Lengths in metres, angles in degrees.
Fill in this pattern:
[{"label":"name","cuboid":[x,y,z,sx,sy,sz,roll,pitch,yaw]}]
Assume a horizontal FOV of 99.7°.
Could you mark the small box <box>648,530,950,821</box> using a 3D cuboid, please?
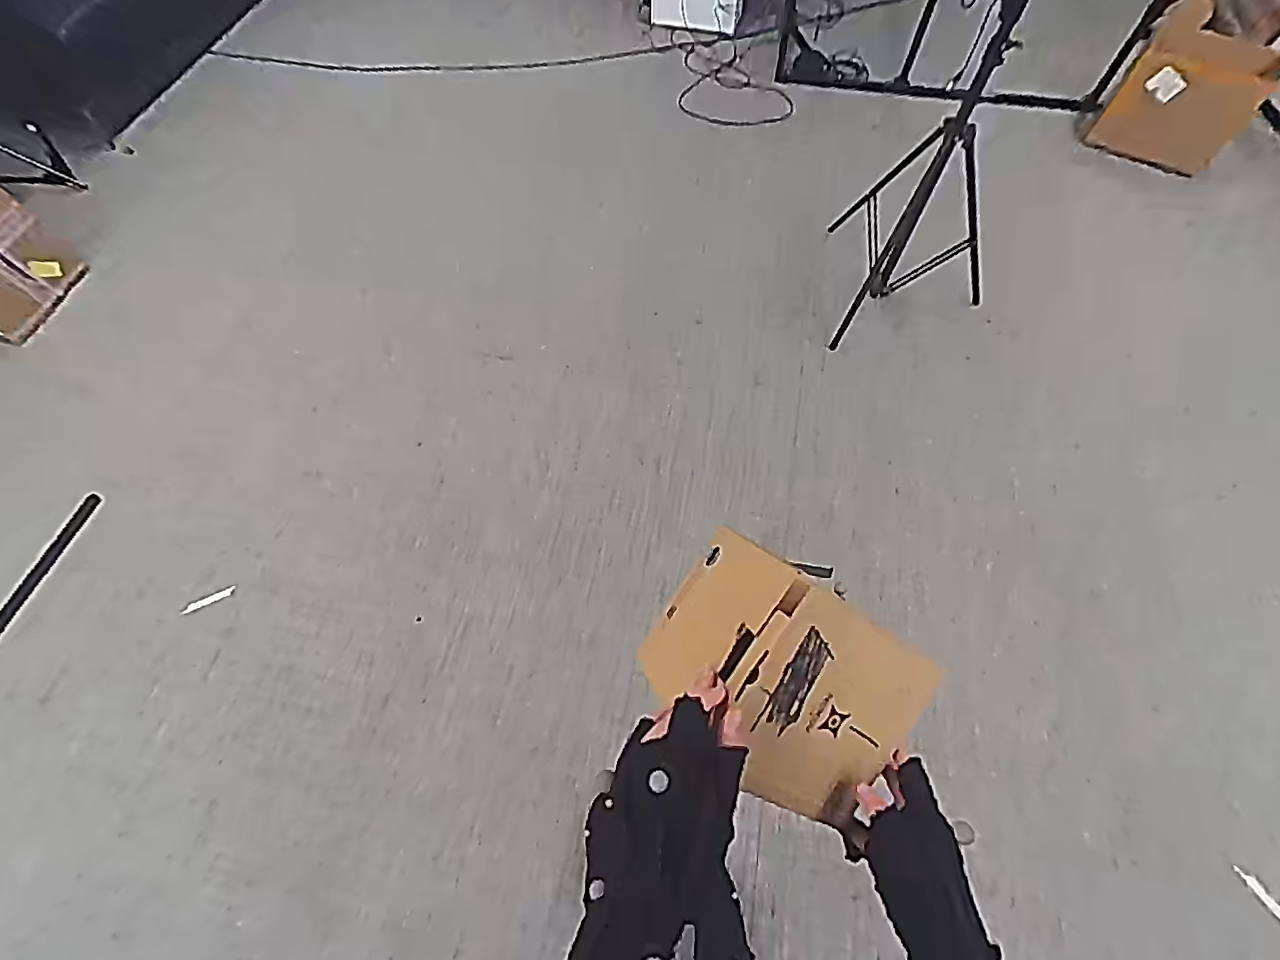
[{"label":"small box","cuboid":[0.130,0.163,0.508,0.179,0.176,0.168,34,91,-16]}]
